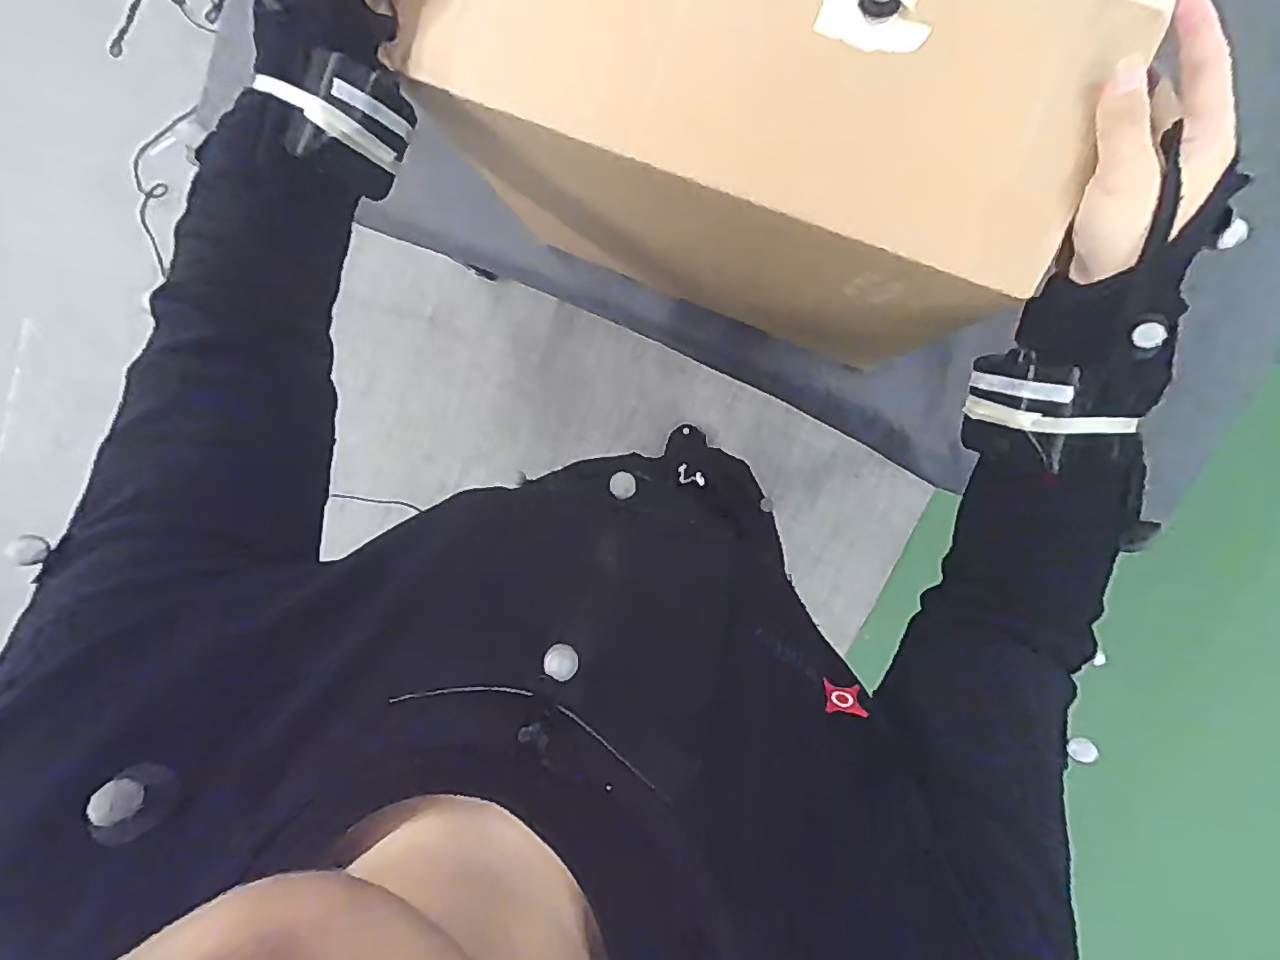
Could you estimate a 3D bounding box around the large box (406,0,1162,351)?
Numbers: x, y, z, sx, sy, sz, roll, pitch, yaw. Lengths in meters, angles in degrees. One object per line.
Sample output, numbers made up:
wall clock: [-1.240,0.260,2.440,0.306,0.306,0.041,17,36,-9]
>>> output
large box: [0.107,-0.338,0.446,0.408,0.320,0.320,22,98,4]
